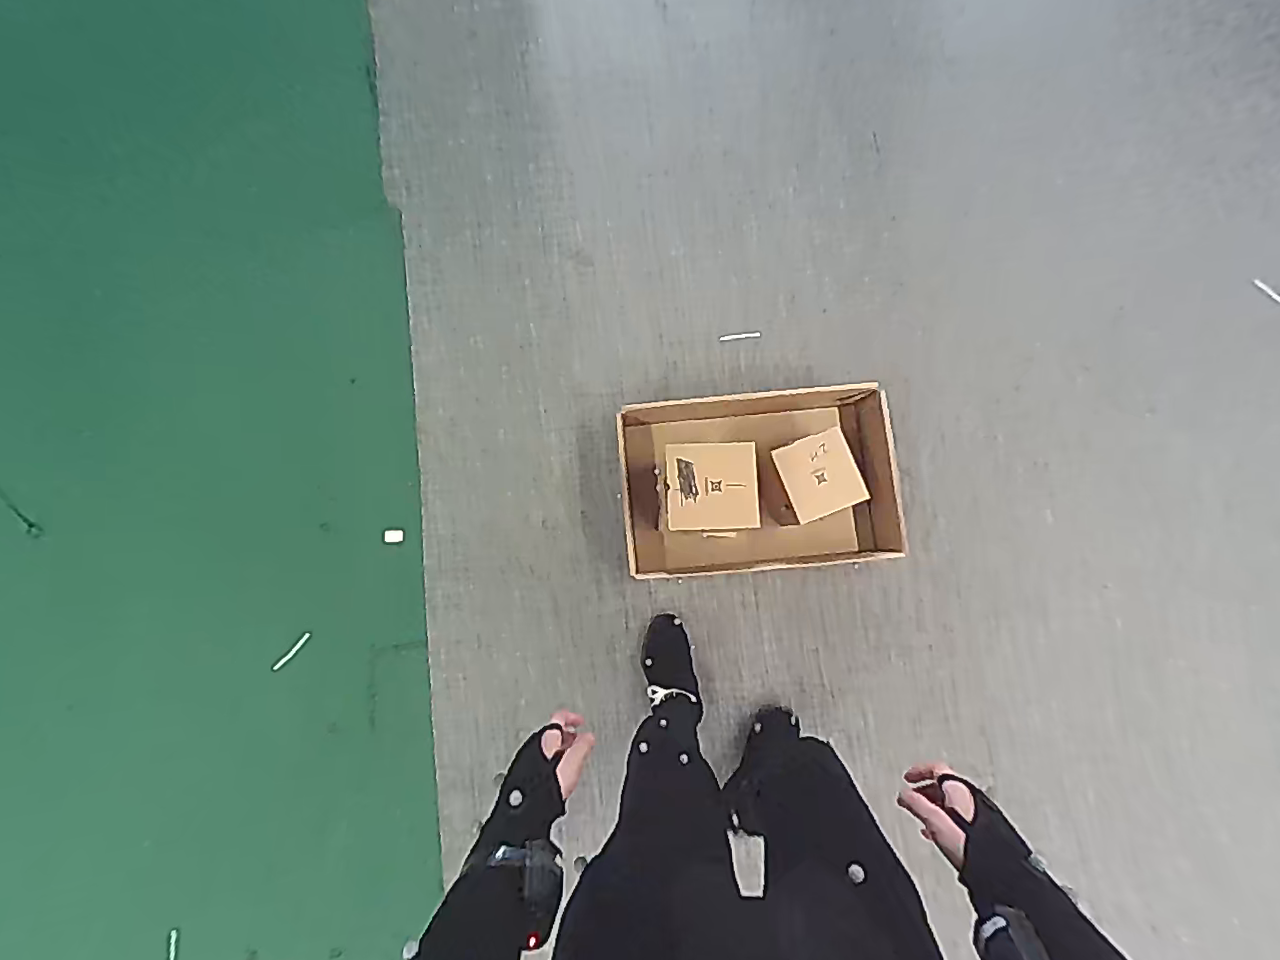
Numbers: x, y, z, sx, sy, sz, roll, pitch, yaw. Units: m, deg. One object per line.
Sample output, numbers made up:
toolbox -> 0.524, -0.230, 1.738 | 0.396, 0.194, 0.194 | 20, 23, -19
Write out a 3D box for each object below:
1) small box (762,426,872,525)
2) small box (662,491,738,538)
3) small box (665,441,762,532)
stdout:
small box -> 0.400, -0.003, 1.251 | 0.168, 0.176, 0.179 | -21, 83, -1
small box -> 0.141, 0.039, 1.252 | 0.168, 0.176, 0.179 | 6, 82, 1
small box -> 0.139, 0.019, 1.089 | 0.179, 0.176, 0.168 | -1, 83, -1
